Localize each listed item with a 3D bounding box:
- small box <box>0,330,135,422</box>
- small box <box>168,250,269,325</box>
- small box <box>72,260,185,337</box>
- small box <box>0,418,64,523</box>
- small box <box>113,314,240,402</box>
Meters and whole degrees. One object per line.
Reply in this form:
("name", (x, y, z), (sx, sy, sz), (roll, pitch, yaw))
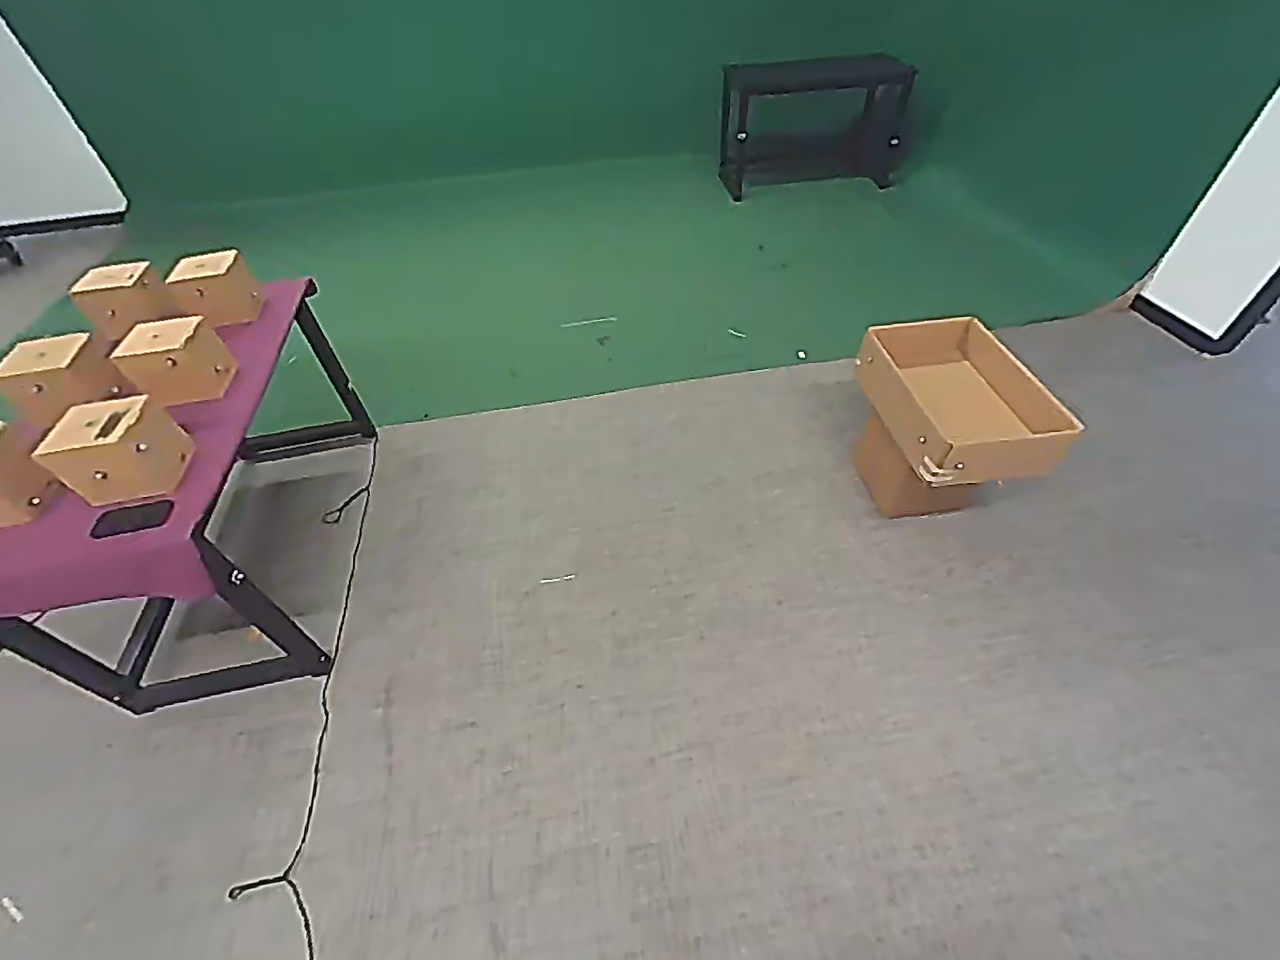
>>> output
("small box", (-1.536, -0.275, 1.454), (0.179, 0.176, 0.168), (-12, 49, -9))
("small box", (-1.362, -0.622, 1.759), (0.179, 0.176, 0.168), (-11, 49, -6))
("small box", (-1.633, -0.581, 1.739), (0.179, 0.176, 0.168), (-12, 49, -7))
("small box", (-1.469, -0.010, 1.203), (0.179, 0.176, 0.168), (-13, 48, -8))
("small box", (-1.265, -0.332, 1.491), (0.179, 0.176, 0.168), (-9, 47, -5))
